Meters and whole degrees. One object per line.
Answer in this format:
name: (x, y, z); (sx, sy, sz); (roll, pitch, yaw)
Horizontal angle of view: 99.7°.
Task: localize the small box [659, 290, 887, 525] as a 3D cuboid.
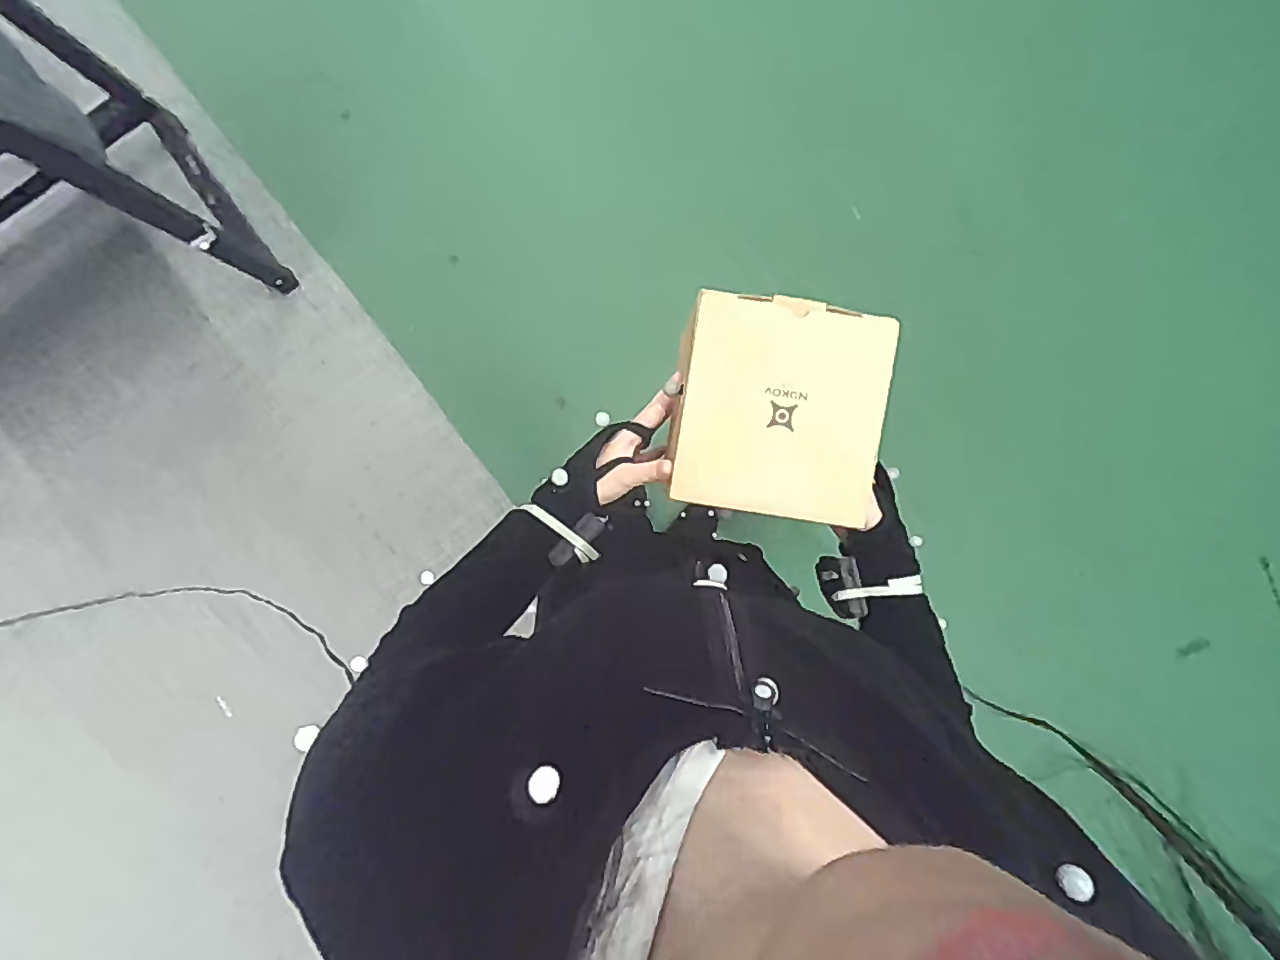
small box: (0.111, -0.061, 0.526); (0.168, 0.176, 0.179); (8, 91, 0)
